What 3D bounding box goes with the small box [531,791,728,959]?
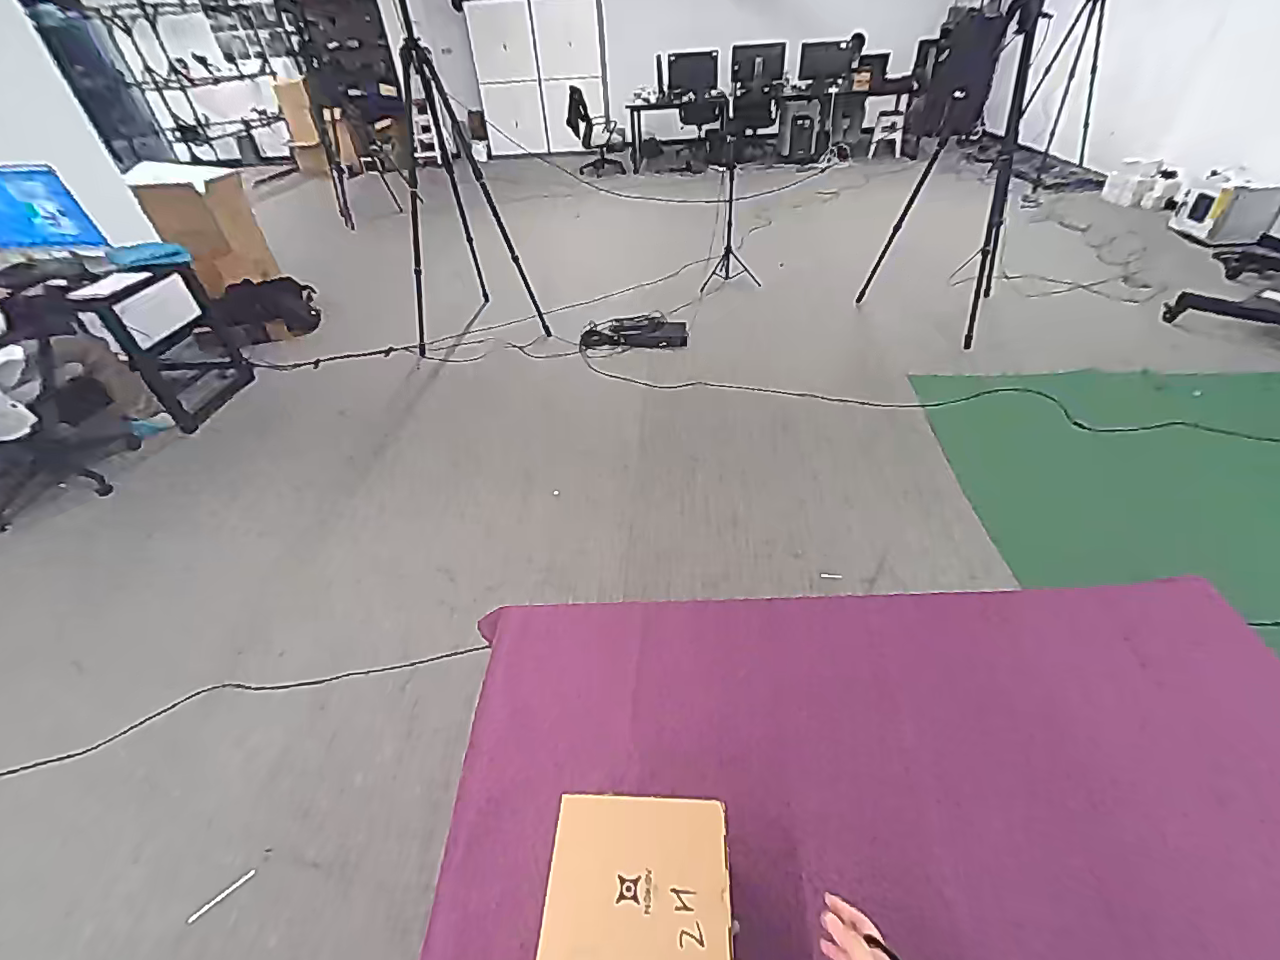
[{"bbox_3d":[0.000,0.448,0.564,0.179,0.176,0.168,0,41,6],"label":"small box"}]
